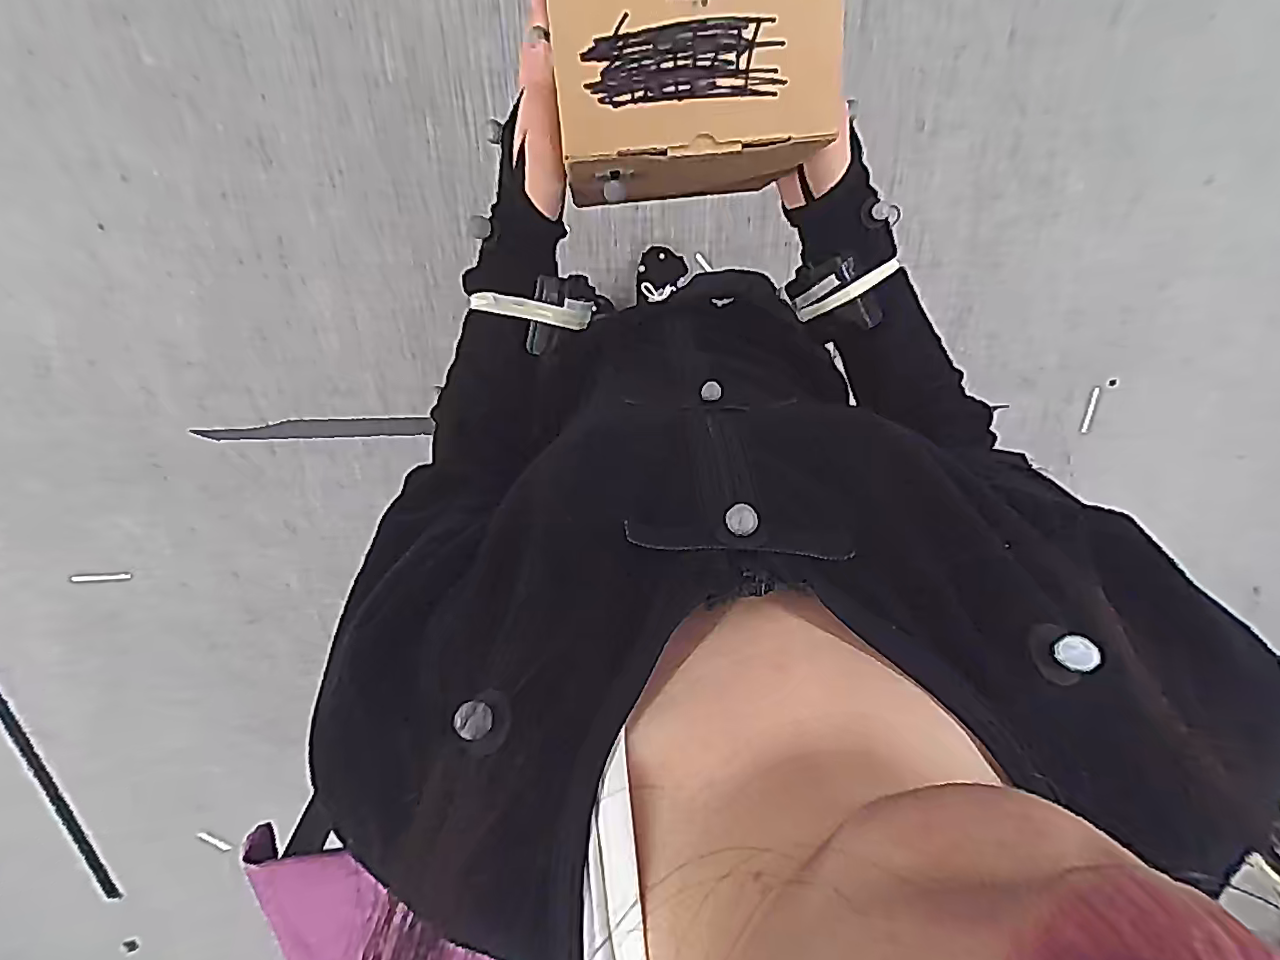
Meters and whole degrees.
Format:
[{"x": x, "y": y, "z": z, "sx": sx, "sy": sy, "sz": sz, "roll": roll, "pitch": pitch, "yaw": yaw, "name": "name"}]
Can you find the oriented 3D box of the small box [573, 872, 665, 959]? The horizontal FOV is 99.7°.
[{"x": -0.043, "y": 0.890, "z": 1.029, "sx": 0.168, "sy": 0.176, "sz": 0.179, "roll": -1, "pitch": 113, "yaw": -6, "name": "small box"}]
